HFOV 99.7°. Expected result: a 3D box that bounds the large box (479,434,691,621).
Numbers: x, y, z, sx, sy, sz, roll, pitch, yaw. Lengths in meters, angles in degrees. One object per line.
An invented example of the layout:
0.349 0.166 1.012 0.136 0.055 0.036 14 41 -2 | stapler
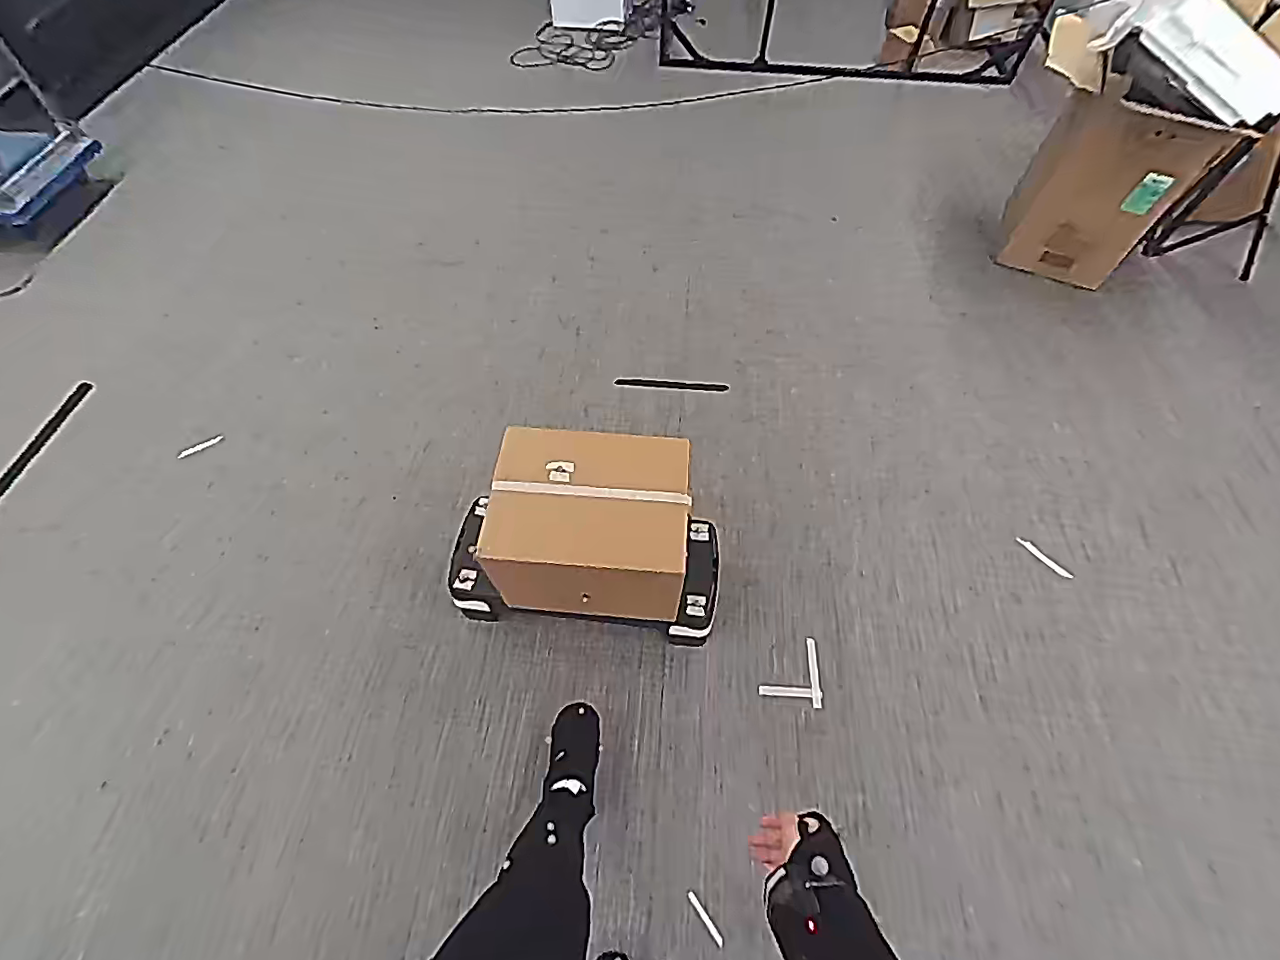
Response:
-0.095 0.117 1.217 0.408 0.320 0.320 4 58 3 | large box
